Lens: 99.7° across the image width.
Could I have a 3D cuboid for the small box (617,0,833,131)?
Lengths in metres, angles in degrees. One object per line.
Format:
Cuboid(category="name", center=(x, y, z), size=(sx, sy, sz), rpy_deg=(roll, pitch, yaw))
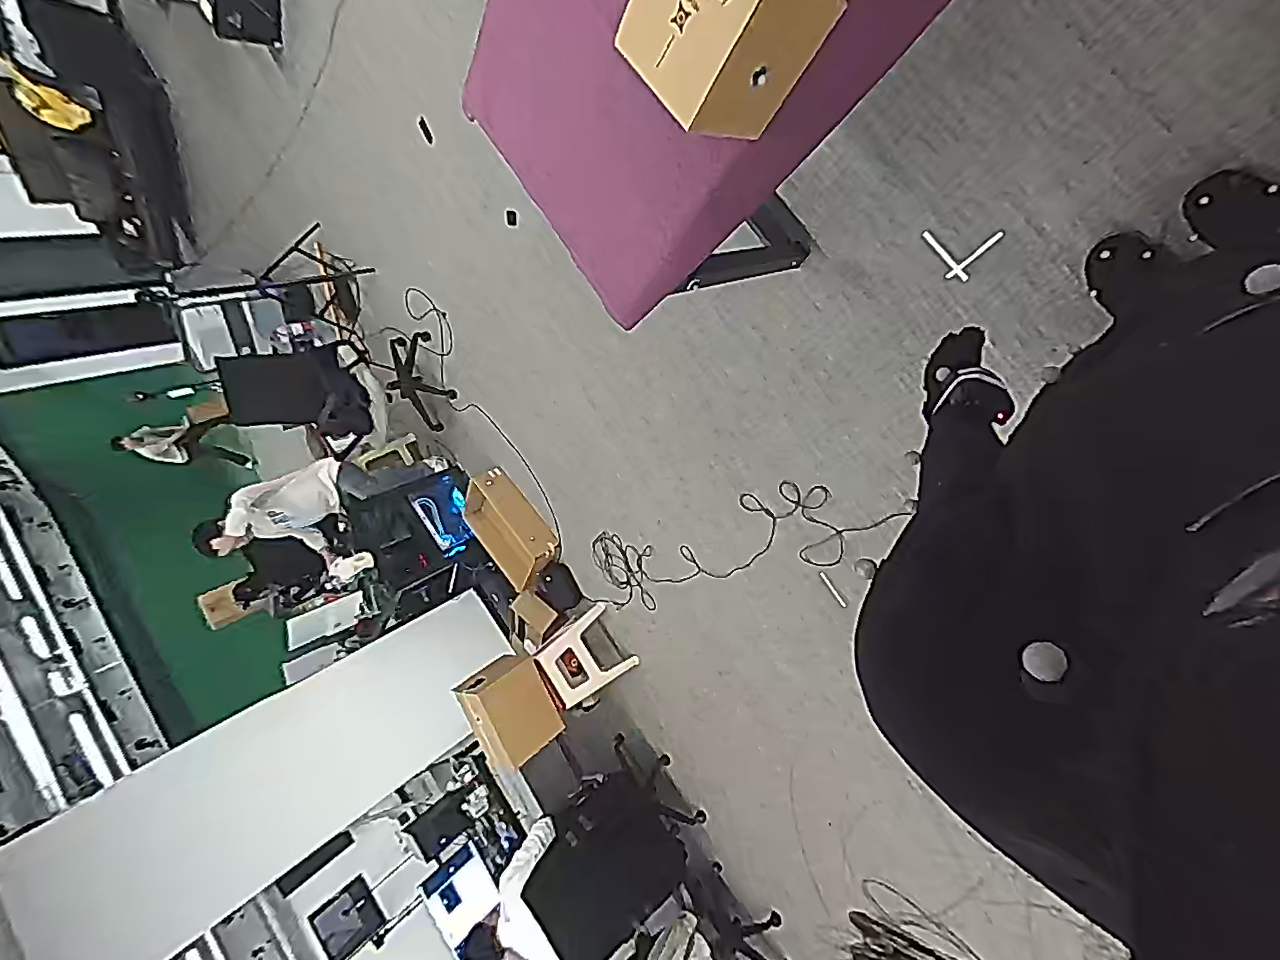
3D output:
Cuboid(category="small box", center=(0.109, -0.567, 0.664), size=(0.168, 0.176, 0.179), rpy_deg=(55, 140, 9))
